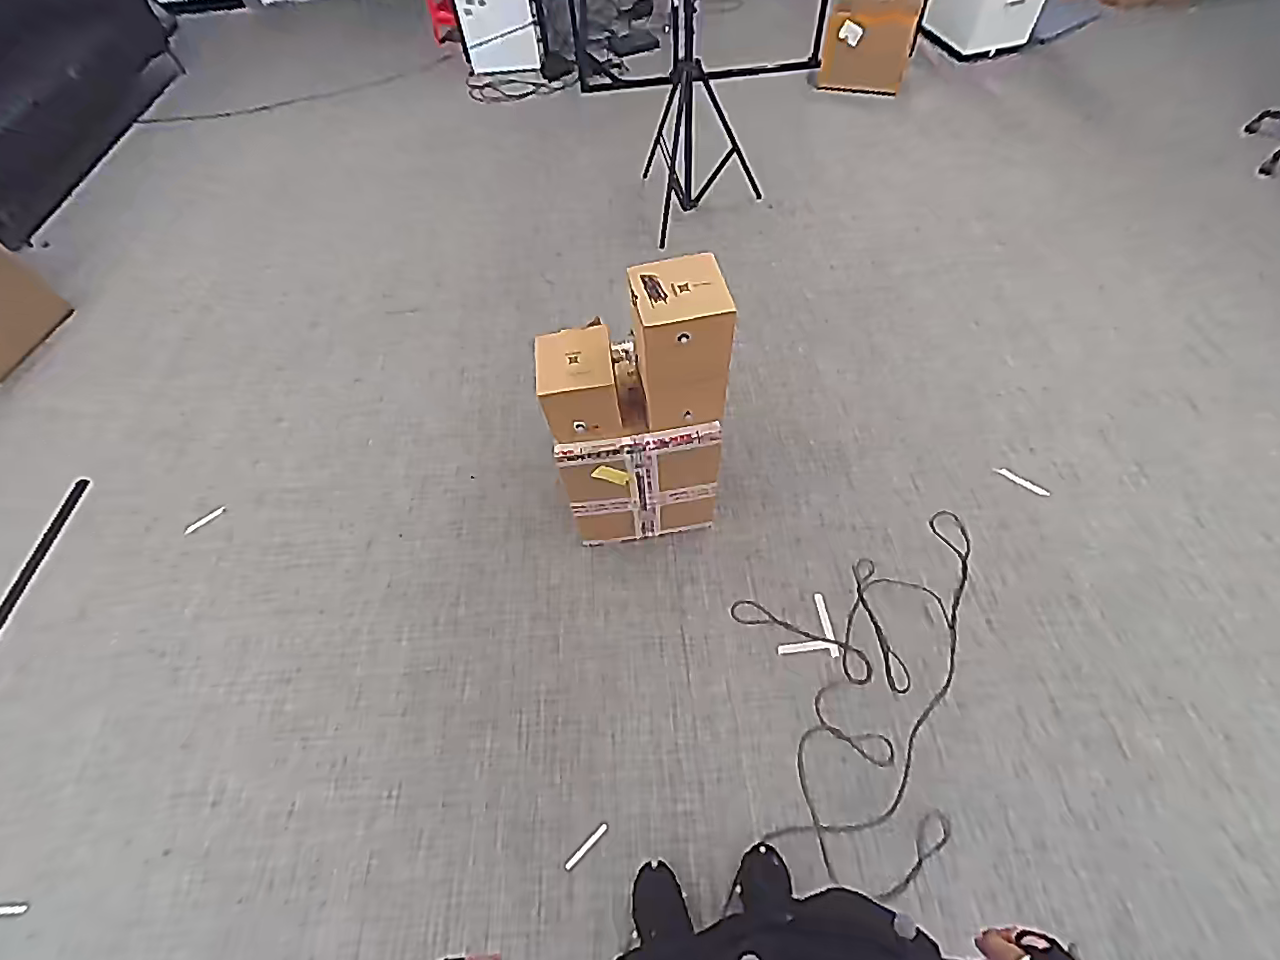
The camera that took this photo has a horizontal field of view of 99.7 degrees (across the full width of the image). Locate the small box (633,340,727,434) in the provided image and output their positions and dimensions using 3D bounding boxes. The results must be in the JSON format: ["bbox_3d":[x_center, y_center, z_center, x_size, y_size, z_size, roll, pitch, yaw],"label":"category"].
[{"bbox_3d":[0.086,-0.227,1.230,0.179,0.176,0.168,-12,60,-4],"label":"small box"}]

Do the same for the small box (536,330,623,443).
[{"bbox_3d":[-0.136,-0.210,1.235,0.168,0.176,0.179,-10,61,1],"label":"small box"}]

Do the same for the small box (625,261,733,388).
[{"bbox_3d":[0.076,-0.305,1.084,0.179,0.176,0.168,-12,61,-4],"label":"small box"}]
